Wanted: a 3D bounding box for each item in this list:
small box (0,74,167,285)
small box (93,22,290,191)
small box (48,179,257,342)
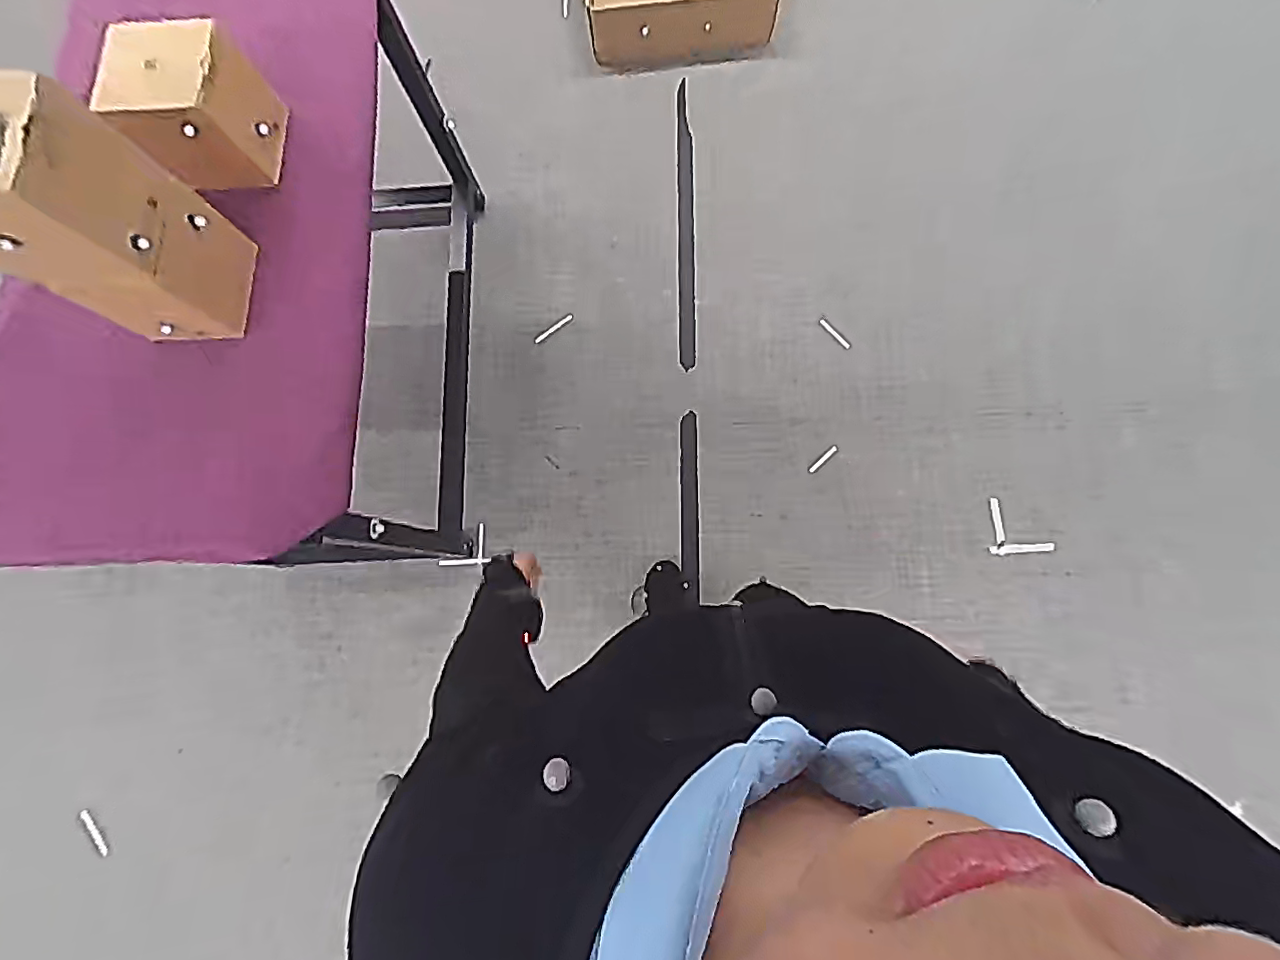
[{"bbox_3d":[-0.760,-0.367,0.687,0.179,0.176,0.168,-2,78,3],"label":"small box"},{"bbox_3d":[-0.733,-0.611,0.903,0.179,0.176,0.168,-1,79,3],"label":"small box"},{"bbox_3d":[-0.744,-0.335,0.847,0.168,0.176,0.179,-1,79,3],"label":"small box"}]
